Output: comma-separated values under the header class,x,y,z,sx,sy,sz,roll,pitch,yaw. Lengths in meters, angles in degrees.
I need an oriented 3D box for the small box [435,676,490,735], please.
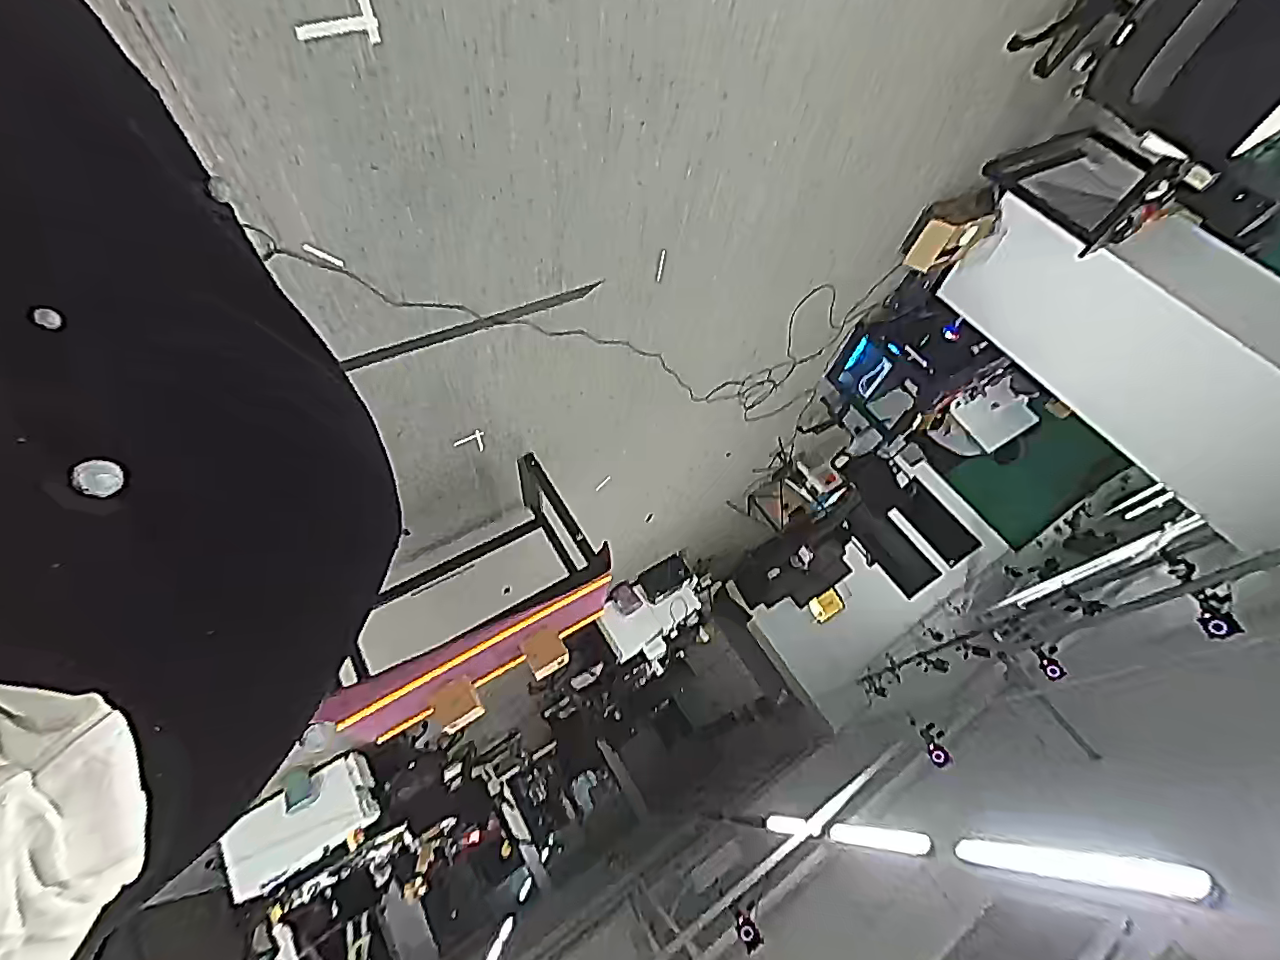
class,x,y,z,sx,sy,sz,roll,pitch,yaw
small box,-0.807,1.019,2.444,0.179,0.176,0.168,-29,156,-19
